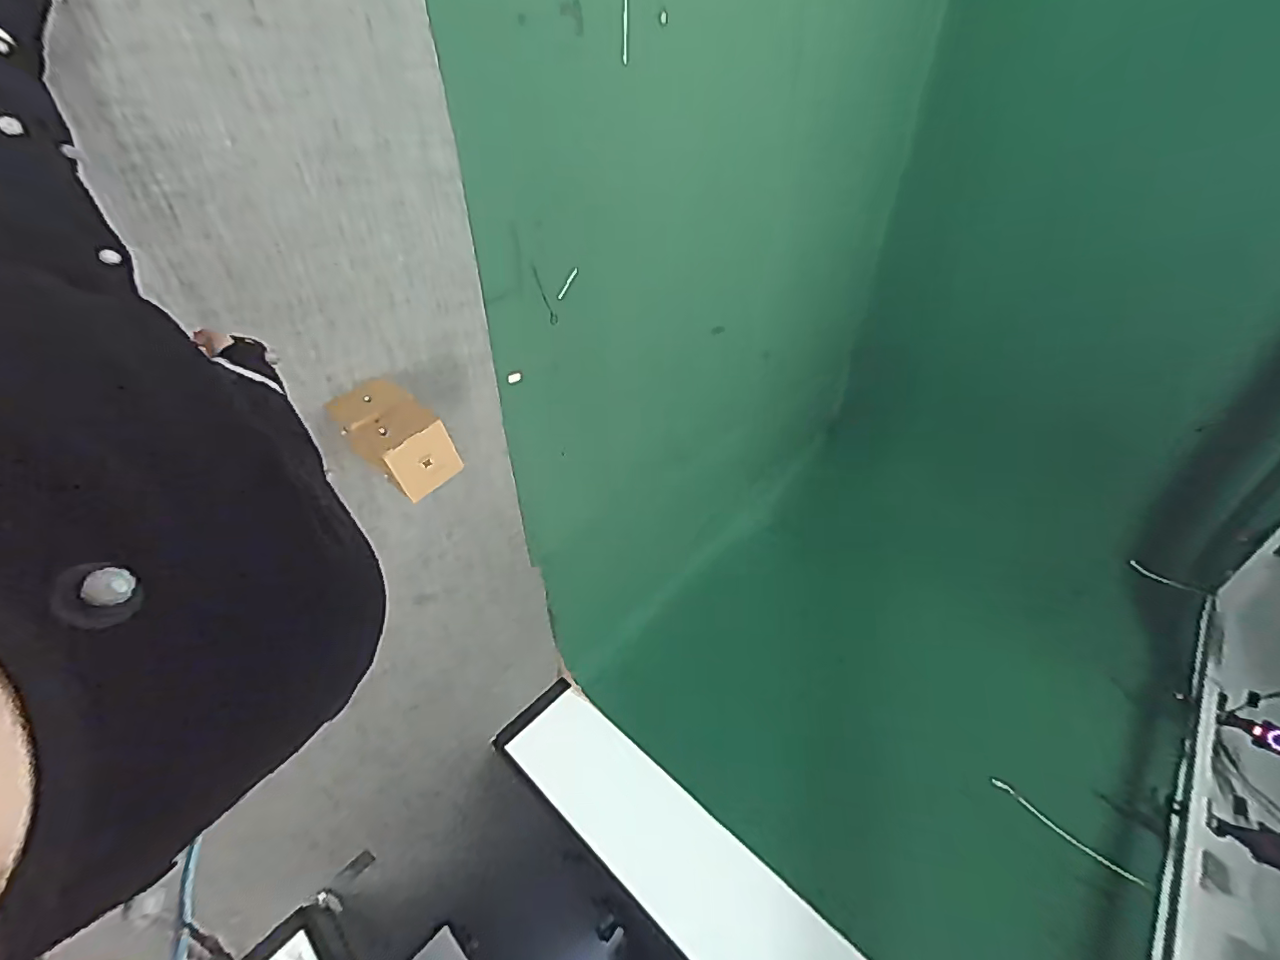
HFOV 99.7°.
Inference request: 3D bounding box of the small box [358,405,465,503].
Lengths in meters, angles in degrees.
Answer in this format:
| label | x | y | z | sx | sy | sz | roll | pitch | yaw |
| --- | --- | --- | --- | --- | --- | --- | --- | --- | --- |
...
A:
| label | x | y | z | sx | sy | sz | roll | pitch | yaw |
| --- | --- | --- | --- | --- | --- | --- | --- | --- | --- |
| small box | -0.598 | -0.077 | 1.414 | 0.168 | 0.176 | 0.179 | -41 | 143 | -26 |
